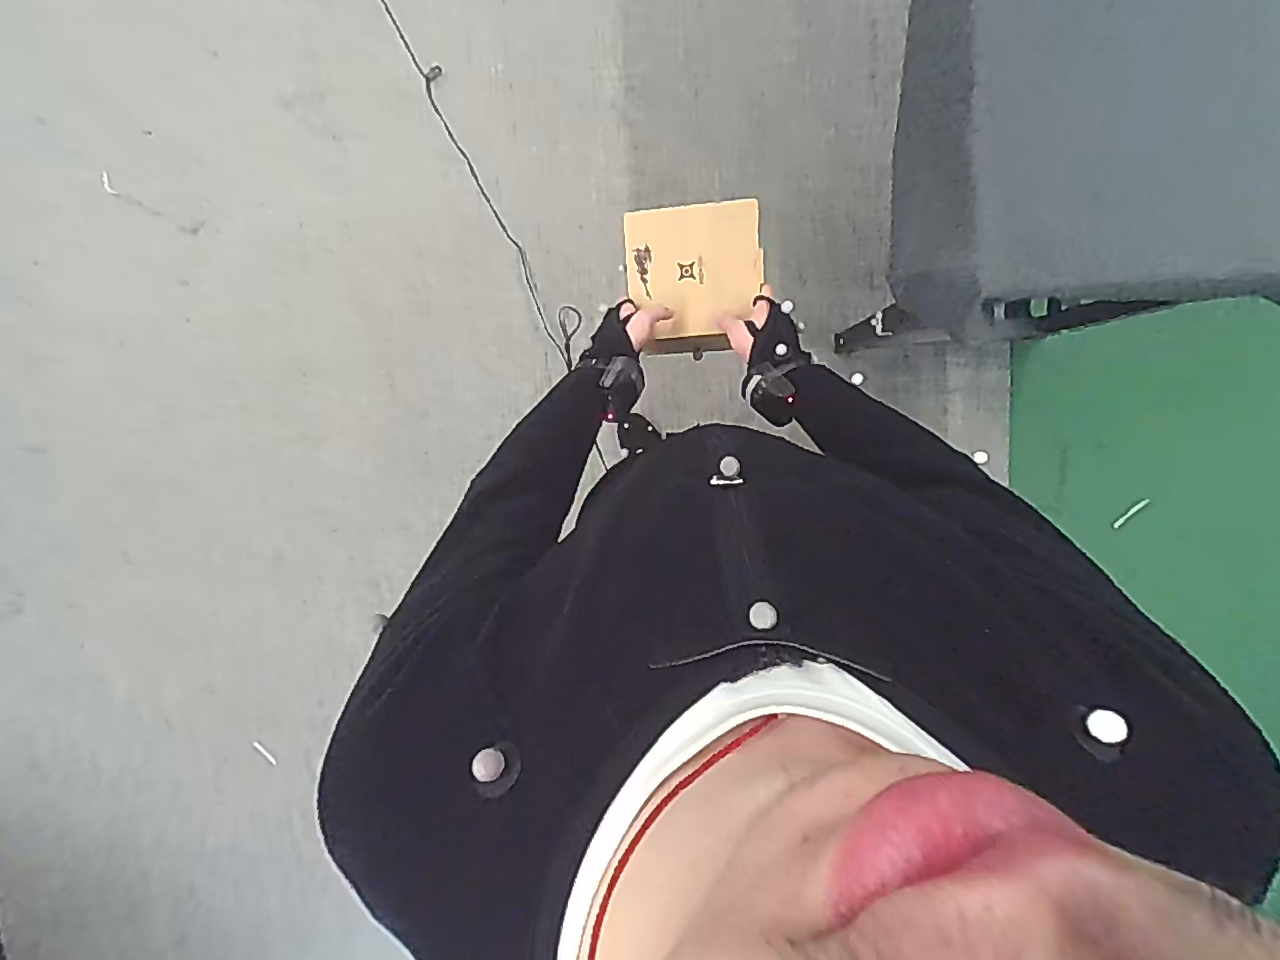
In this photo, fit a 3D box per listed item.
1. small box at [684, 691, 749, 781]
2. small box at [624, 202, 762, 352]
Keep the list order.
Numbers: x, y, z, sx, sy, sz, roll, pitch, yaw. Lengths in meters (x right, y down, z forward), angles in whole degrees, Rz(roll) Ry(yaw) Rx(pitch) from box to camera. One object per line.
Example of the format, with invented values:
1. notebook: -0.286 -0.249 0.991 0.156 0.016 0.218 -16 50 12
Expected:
1. small box: 0.217 0.730 1.551 0.168 0.176 0.179 -1 96 0
2. small box: 0.075 -0.280 0.780 0.179 0.176 0.168 -2 96 6
